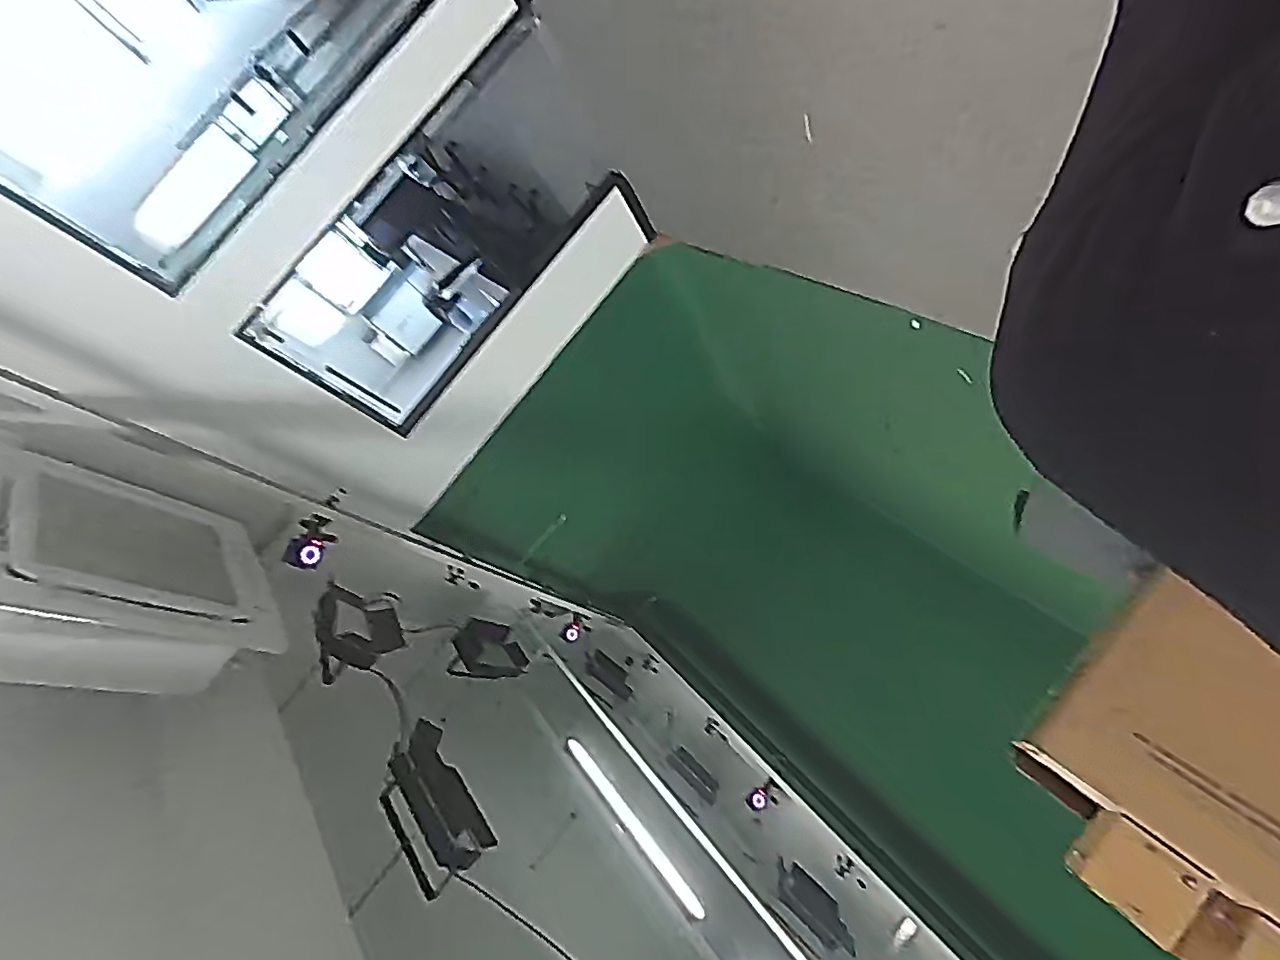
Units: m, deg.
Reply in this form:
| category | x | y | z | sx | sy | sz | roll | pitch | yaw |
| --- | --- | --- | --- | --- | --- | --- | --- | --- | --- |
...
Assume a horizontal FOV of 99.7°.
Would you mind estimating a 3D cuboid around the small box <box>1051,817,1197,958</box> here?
| category | x | y | z | sx | sy | sz | roll | pitch | yaw |
| --- | --- | --- | --- | --- | --- | --- | --- | --- | --- |
| small box | 1.057 | 0.878 | 1.187 | 0.168 | 0.176 | 0.179 | 38 | 177 | 35 |

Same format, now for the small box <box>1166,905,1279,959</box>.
| category | x | y | z | sx | sy | sz | roll | pitch | yaw |
| --- | --- | --- | --- | --- | --- | --- | --- | --- | --- |
| small box | 1.202 | 0.986 | 1.055 | 0.168 | 0.176 | 0.179 | 34 | 175 | 33 |
